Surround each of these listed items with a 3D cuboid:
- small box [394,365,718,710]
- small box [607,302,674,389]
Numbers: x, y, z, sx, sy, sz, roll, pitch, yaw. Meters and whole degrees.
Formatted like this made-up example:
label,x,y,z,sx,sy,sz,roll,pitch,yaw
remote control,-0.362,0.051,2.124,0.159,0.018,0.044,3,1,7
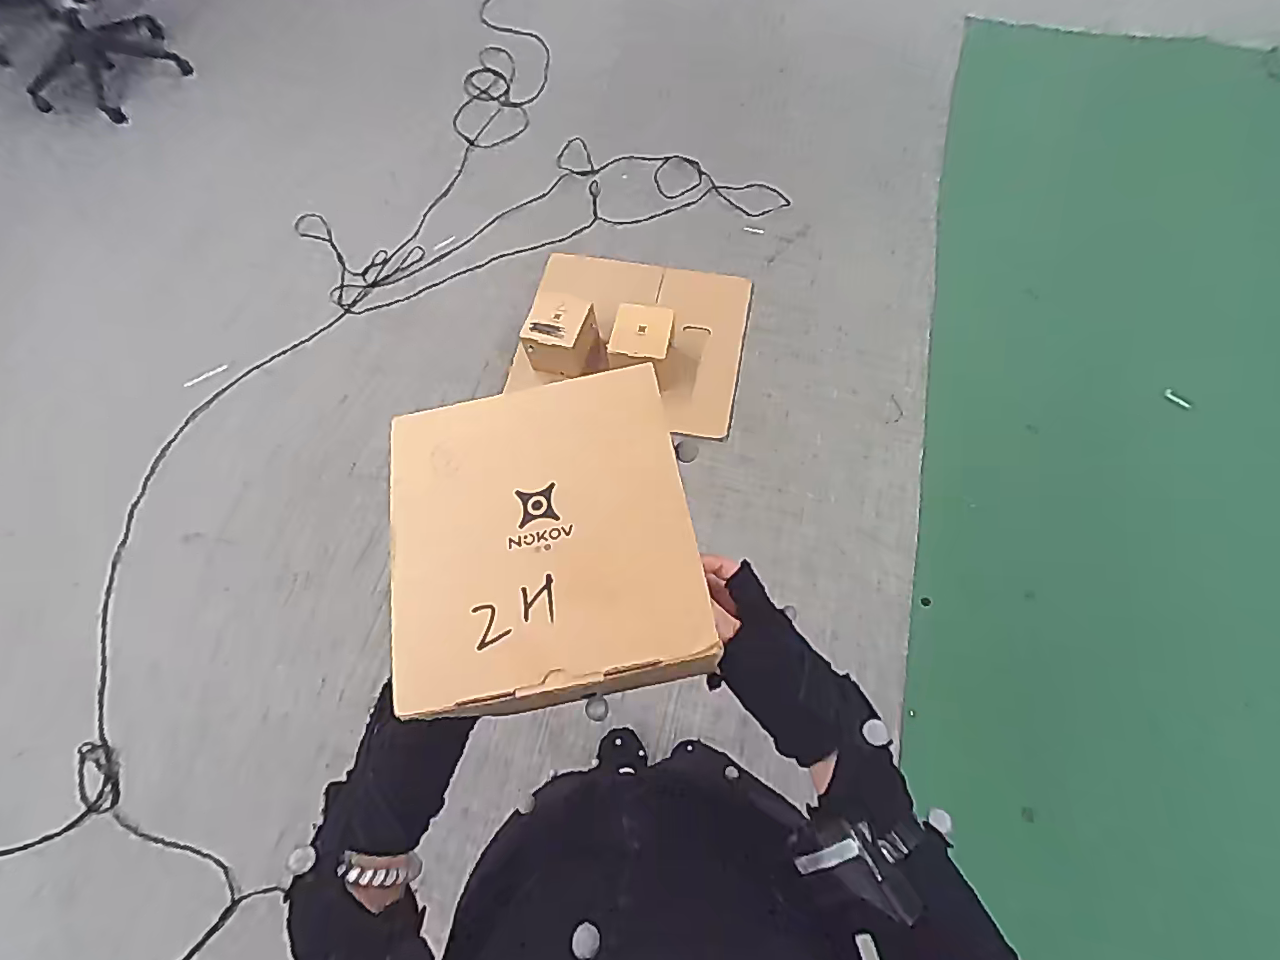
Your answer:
label,x,y,z,sx,sy,sz,roll,pitch,yaw
small box,-0.049,0.053,0.374,0.168,0.176,0.179,-13,67,1
small box,0.005,-0.395,1.599,0.168,0.176,0.179,9,69,6
